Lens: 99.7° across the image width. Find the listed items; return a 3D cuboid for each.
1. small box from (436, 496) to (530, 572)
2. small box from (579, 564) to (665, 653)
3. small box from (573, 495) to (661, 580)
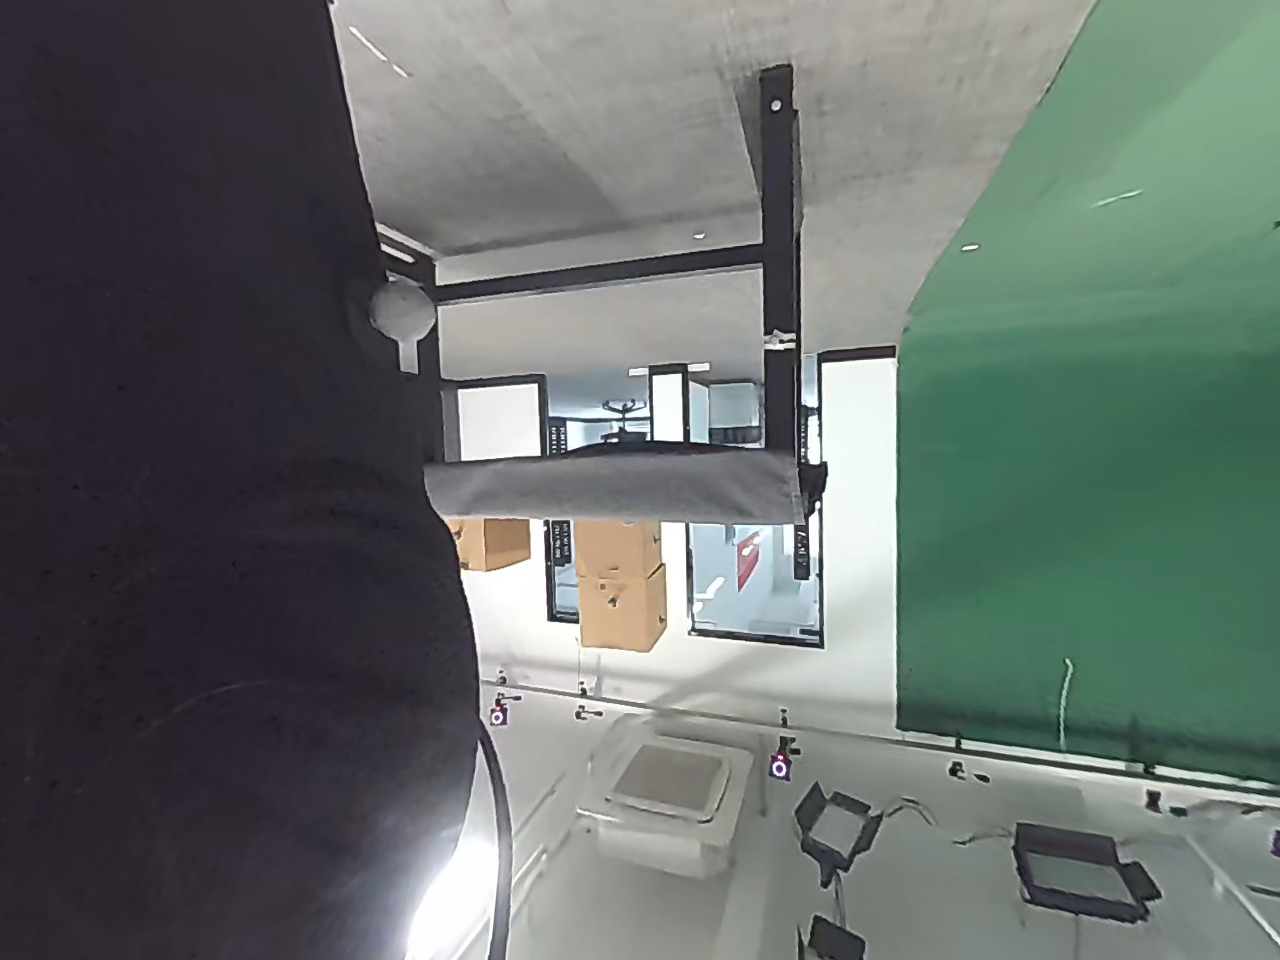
[{"bbox_3d":[-0.403,0.133,1.385,0.168,0.176,0.179,0,-176,27],"label":"small box"},{"bbox_3d":[-0.038,0.292,1.288,0.168,0.176,0.179,-1,-176,17],"label":"small box"},{"bbox_3d":[-0.050,0.129,1.263,0.168,0.176,0.179,-1,-175,15],"label":"small box"}]
